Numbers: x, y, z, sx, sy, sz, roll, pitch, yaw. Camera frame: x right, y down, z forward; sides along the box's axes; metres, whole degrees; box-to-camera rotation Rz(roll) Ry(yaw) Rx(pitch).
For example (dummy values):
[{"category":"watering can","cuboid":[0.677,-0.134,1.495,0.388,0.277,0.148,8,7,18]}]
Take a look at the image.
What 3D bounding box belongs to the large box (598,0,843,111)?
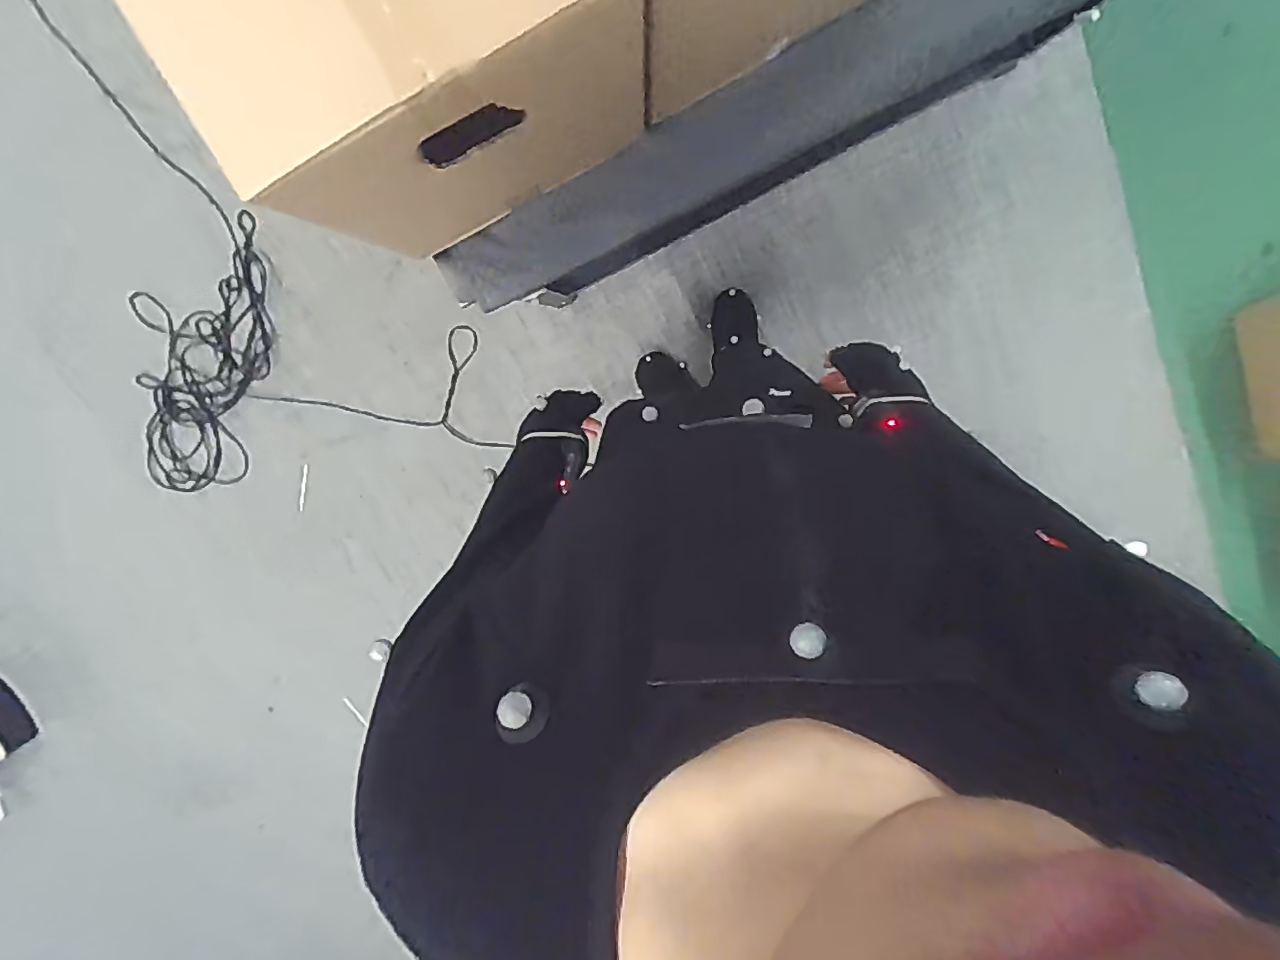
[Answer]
[{"category":"large box","cuboid":[0.053,-0.615,0.415,0.320,0.320,0.408,-26,104,9]}]
